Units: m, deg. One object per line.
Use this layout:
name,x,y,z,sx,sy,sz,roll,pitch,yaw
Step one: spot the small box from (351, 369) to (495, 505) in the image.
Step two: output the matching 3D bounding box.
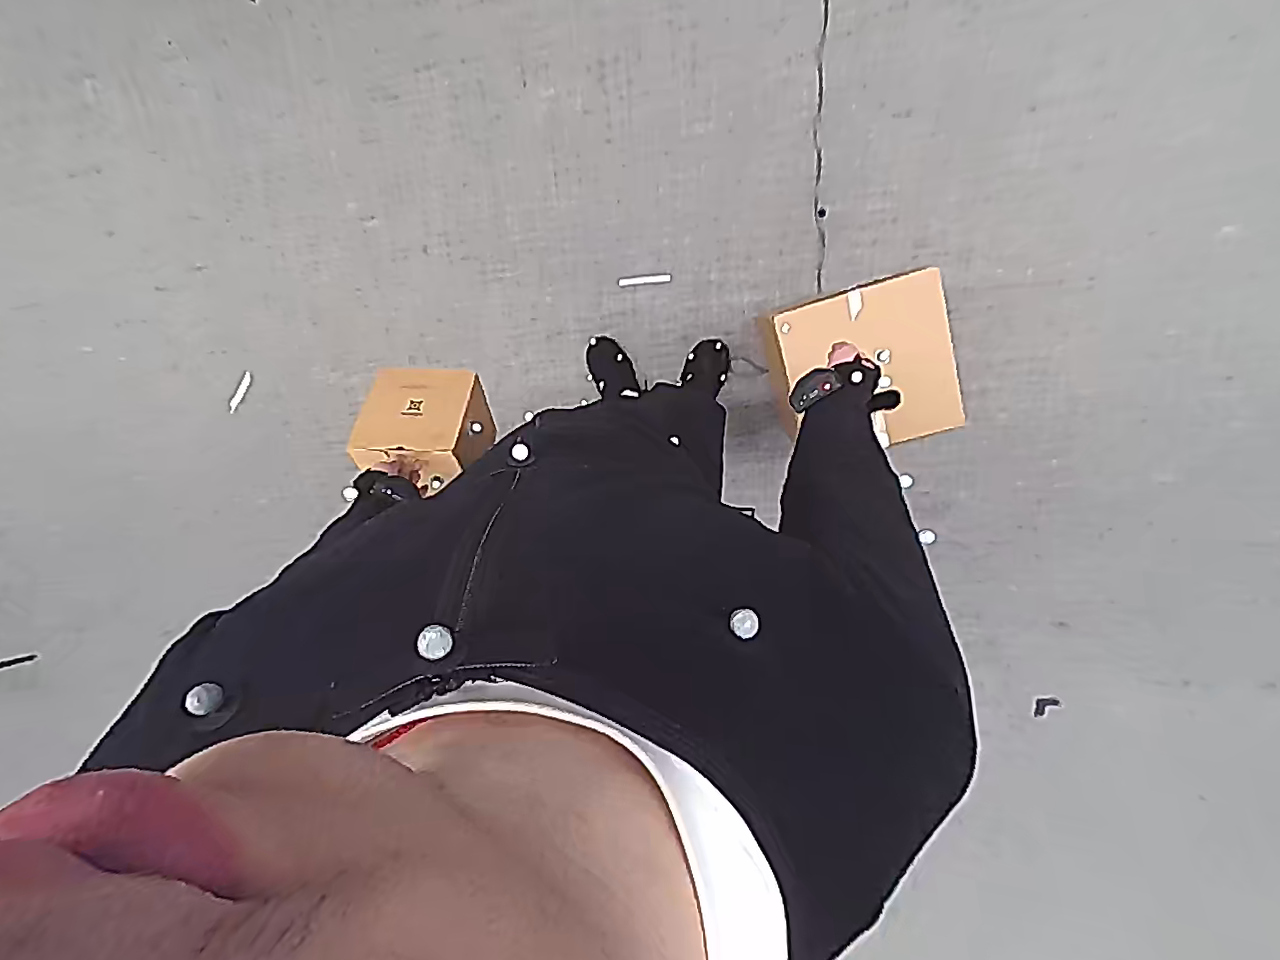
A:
small box,-0.360,-0.070,0.938,0.168,0.179,0.176,2,144,0
